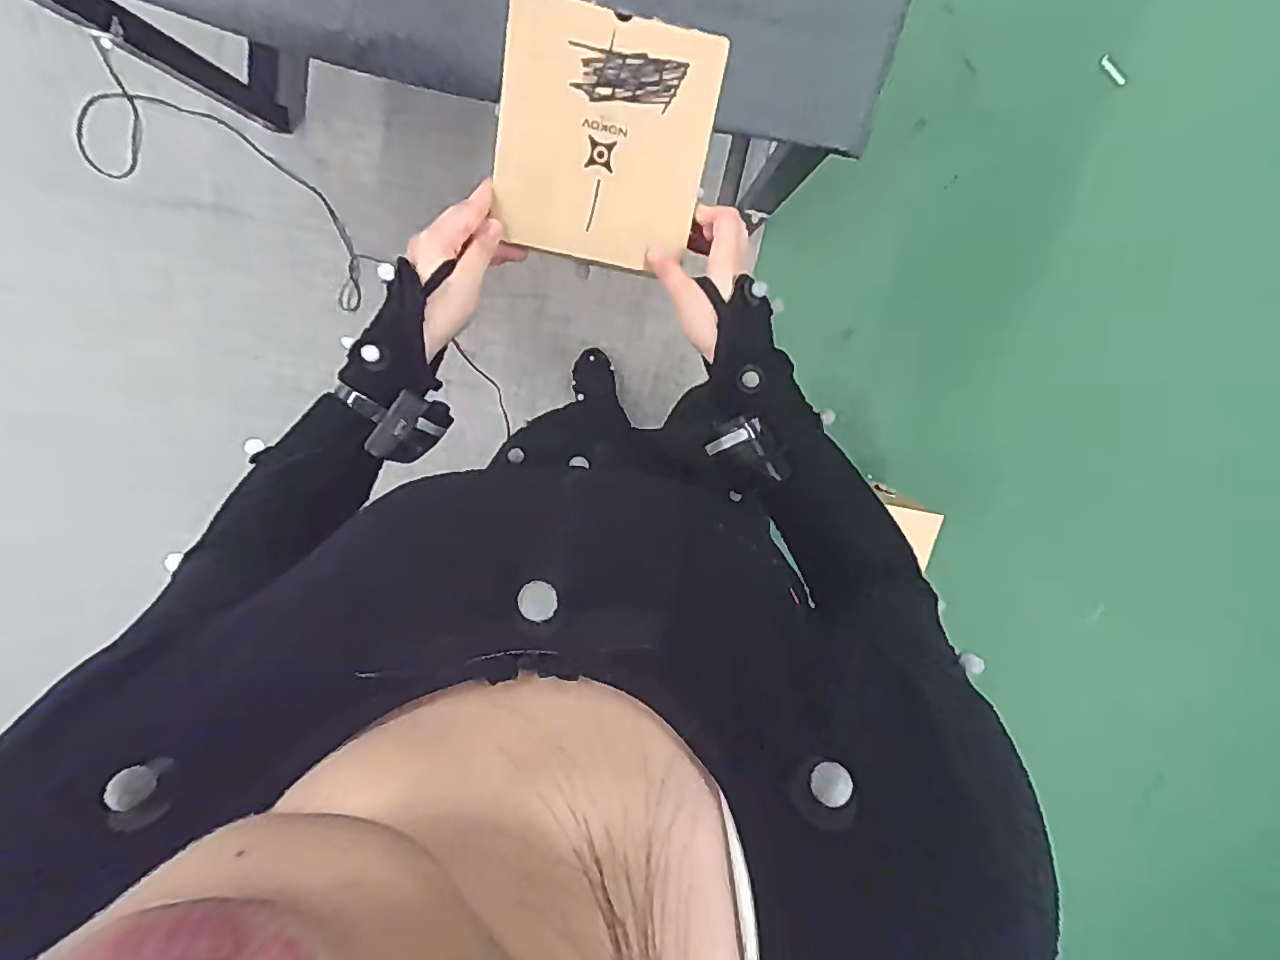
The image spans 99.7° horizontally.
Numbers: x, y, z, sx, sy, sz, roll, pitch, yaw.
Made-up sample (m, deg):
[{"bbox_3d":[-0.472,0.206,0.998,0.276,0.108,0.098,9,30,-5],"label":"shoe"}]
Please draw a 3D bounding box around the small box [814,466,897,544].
[{"bbox_3d":[0.576,0.083,1.418,0.168,0.176,0.179,19,104,-4],"label":"small box"}]

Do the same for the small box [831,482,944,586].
[{"bbox_3d":[0.563,0.120,1.260,0.168,0.176,0.179,11,104,-2],"label":"small box"}]

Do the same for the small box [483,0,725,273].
[{"bbox_3d":[-0.036,-0.297,0.494,0.168,0.176,0.179,10,110,-6],"label":"small box"}]
